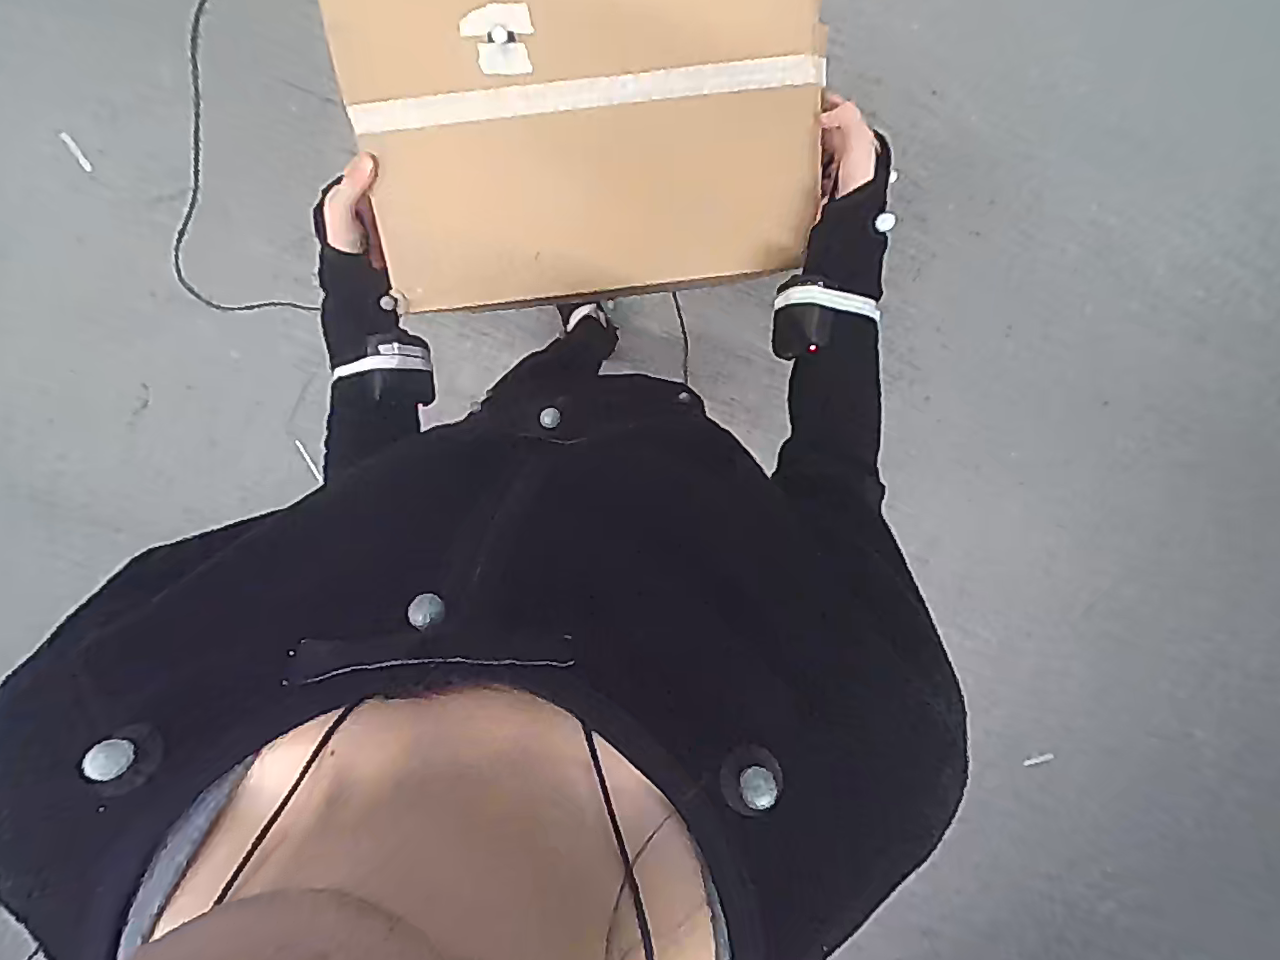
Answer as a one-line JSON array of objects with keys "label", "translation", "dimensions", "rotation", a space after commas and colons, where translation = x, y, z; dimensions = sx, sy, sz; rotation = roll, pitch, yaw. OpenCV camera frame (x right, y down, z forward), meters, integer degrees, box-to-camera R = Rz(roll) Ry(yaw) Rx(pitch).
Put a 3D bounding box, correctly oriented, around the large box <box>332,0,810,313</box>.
[{"label": "large box", "translation": [-0.055, -0.381, 0.622], "dimensions": [0.408, 0.320, 0.320], "rotation": [-7, 108, -1]}]
